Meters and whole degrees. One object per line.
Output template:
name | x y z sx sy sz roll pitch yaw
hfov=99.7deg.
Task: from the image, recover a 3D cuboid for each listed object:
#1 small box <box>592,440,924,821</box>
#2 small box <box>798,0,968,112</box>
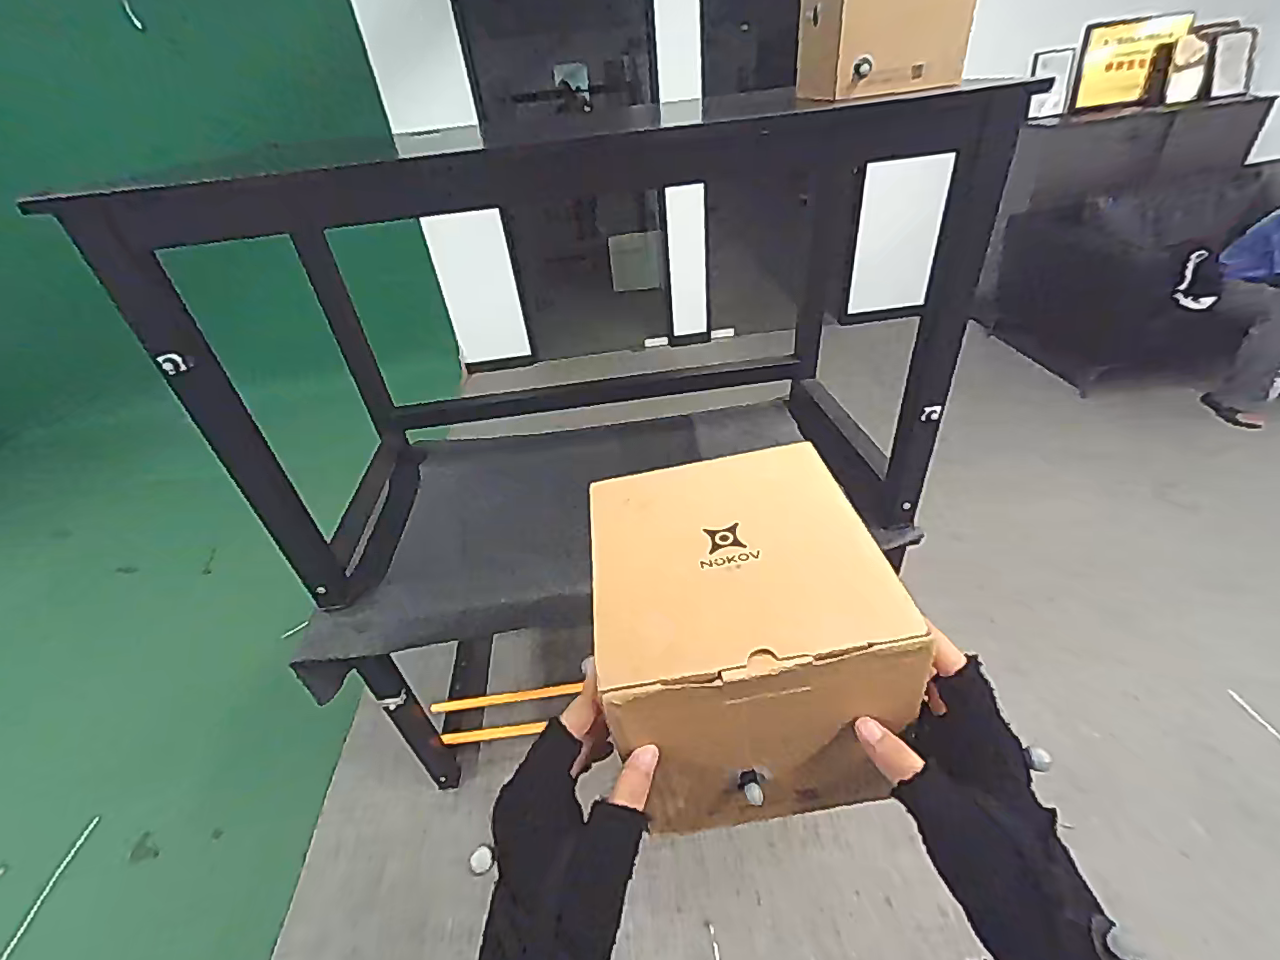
small box | 0.063 0.097 0.376 0.168 0.176 0.179 -11 35 1
small box | 0.319 -0.608 0.727 0.168 0.176 0.179 -6 35 1
